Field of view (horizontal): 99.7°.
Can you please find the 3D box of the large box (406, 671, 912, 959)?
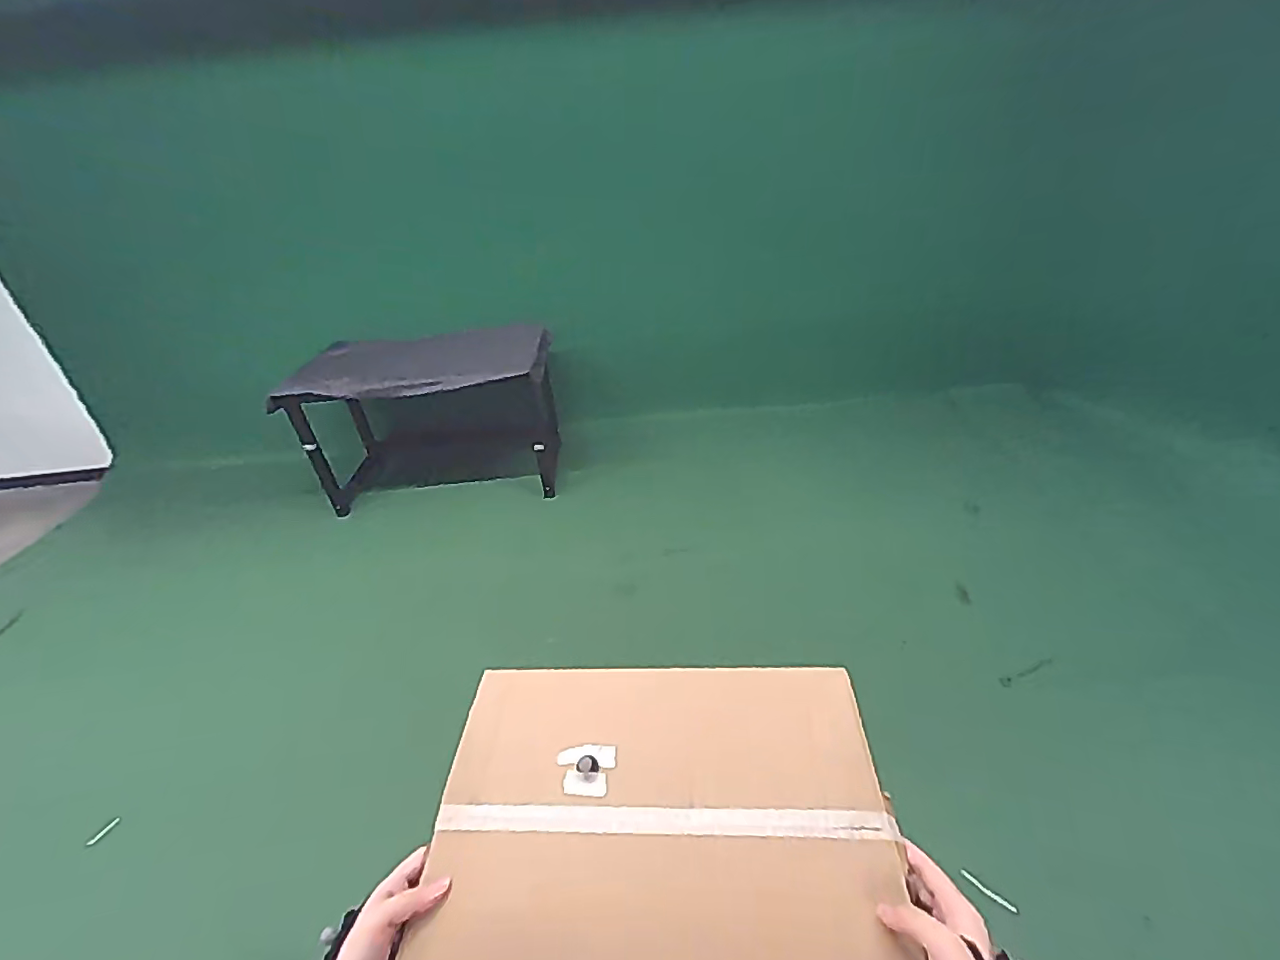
[{"bbox_3d":[0.031,0.433,0.581,0.408,0.320,0.320,-4,37,7],"label":"large box"}]
